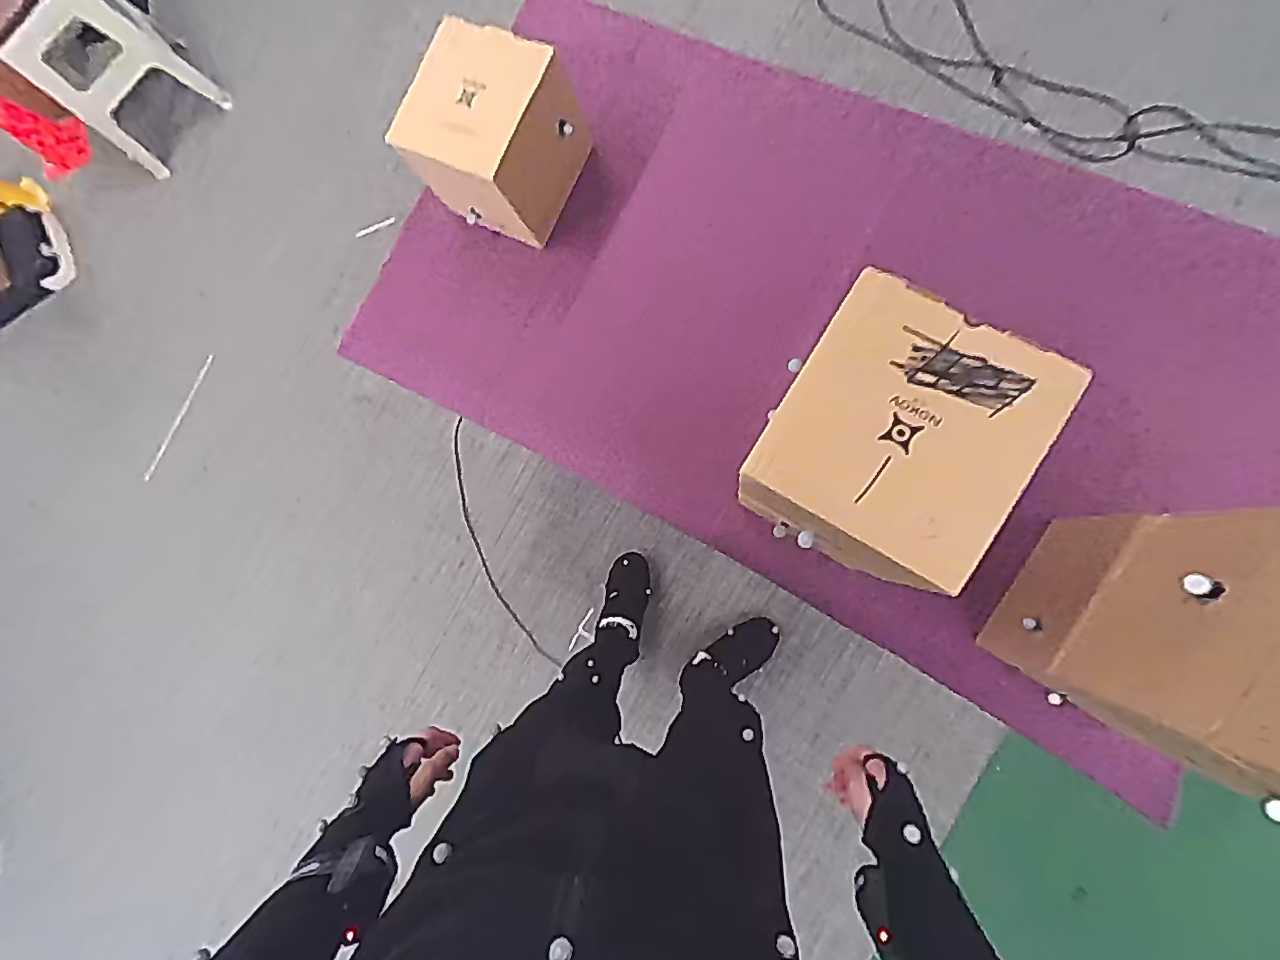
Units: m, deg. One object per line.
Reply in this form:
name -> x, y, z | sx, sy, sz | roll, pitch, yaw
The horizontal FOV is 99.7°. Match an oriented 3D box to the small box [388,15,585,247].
small box -> -0.191, -0.458, 0.733 | 0.168, 0.176, 0.179 | 27, 91, 13

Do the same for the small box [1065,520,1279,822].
small box -> 0.457, 0.137, 0.379 | 0.168, 0.176, 0.179 | 33, 90, 13

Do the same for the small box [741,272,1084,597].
small box -> 0.196, -0.028, 0.450 | 0.168, 0.176, 0.179 | 32, 91, 13

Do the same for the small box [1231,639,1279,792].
small box -> 0.427, 0.116, 0.218 | 0.168, 0.176, 0.179 | 32, 91, 13
